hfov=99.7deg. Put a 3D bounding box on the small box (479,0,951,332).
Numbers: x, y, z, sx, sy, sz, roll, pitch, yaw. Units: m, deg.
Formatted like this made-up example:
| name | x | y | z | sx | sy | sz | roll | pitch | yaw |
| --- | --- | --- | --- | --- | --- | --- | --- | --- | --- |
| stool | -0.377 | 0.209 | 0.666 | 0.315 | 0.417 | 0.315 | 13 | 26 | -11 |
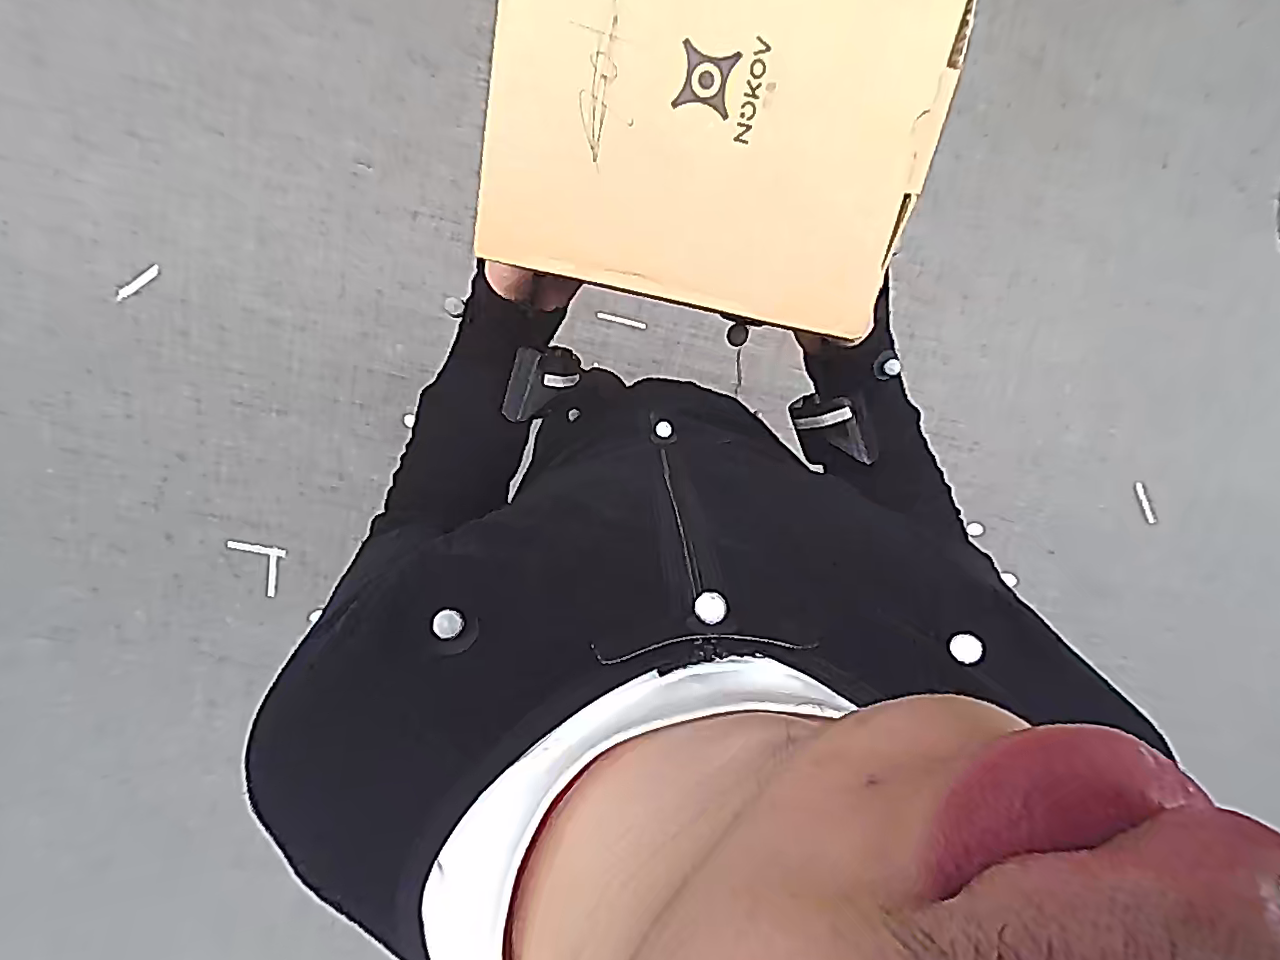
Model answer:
| name | x | y | z | sx | sy | sz | roll | pitch | yaw |
| --- | --- | --- | --- | --- | --- | --- | --- | --- | --- |
| small box | 0.030 | -0.186 | 0.300 | 0.179 | 0.176 | 0.168 | 12 | 106 | -2 |
